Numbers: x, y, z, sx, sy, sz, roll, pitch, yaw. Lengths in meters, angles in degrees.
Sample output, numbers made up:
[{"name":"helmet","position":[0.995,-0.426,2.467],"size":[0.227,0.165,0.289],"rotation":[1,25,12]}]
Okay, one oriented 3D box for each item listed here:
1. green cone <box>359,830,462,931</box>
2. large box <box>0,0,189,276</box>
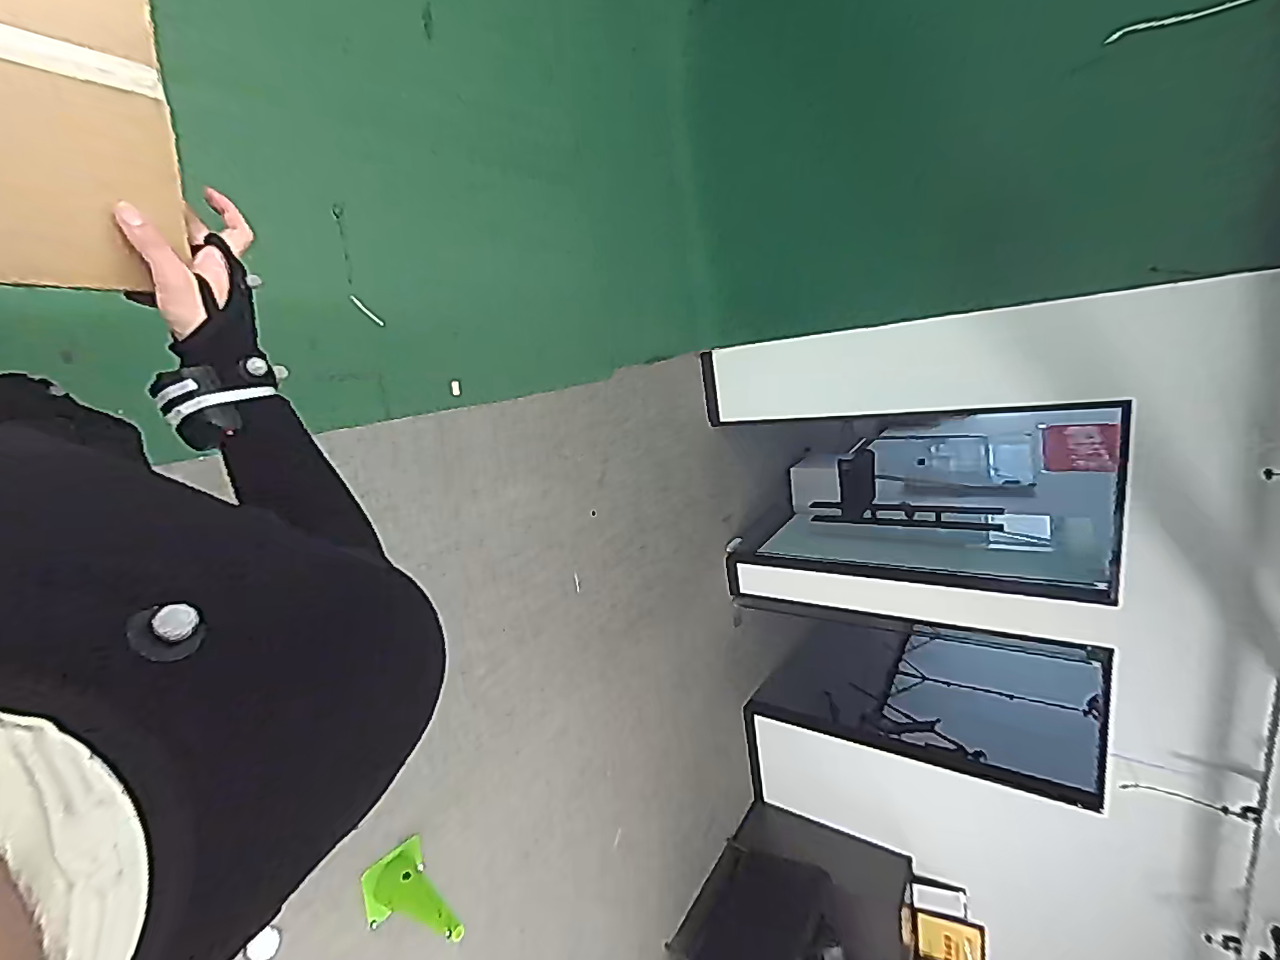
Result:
[{"name":"green cone","position":[-0.684,1.310,1.699],"size":[0.200,0.368,0.202],"rotation":[-16,103,-53]},{"name":"large box","position":[-0.628,-0.323,0.373],"size":[0.408,0.320,0.320],"rotation":[-16,118,-48]}]
